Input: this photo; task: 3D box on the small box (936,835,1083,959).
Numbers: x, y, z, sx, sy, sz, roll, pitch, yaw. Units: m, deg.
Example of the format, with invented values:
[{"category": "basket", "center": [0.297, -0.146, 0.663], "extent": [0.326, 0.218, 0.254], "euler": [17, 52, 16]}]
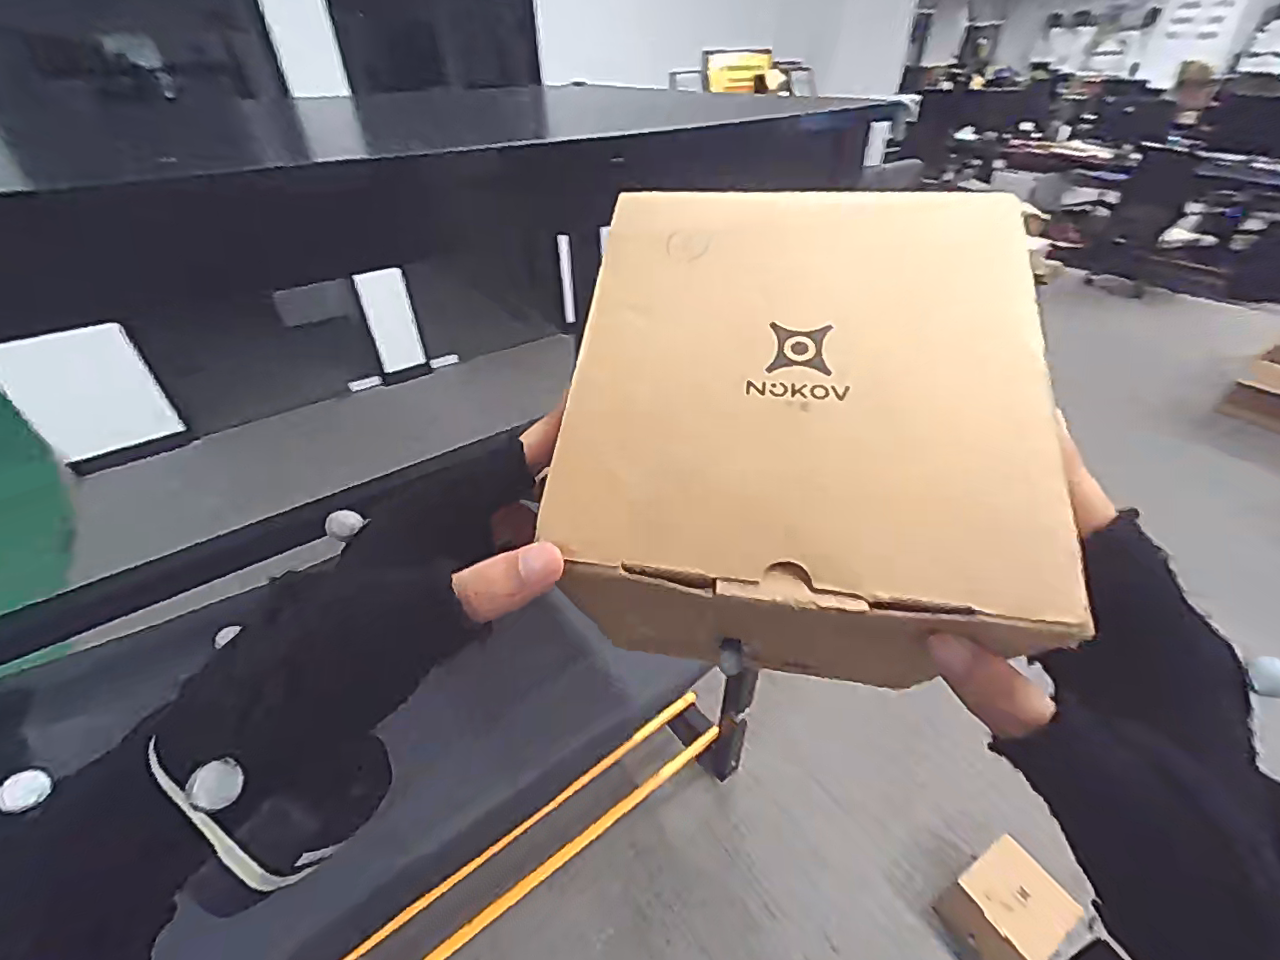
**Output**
[{"category": "small box", "center": [0.766, 0.905, 1.141], "extent": [0.179, 0.176, 0.168], "euler": [-21, 42, -22]}]
